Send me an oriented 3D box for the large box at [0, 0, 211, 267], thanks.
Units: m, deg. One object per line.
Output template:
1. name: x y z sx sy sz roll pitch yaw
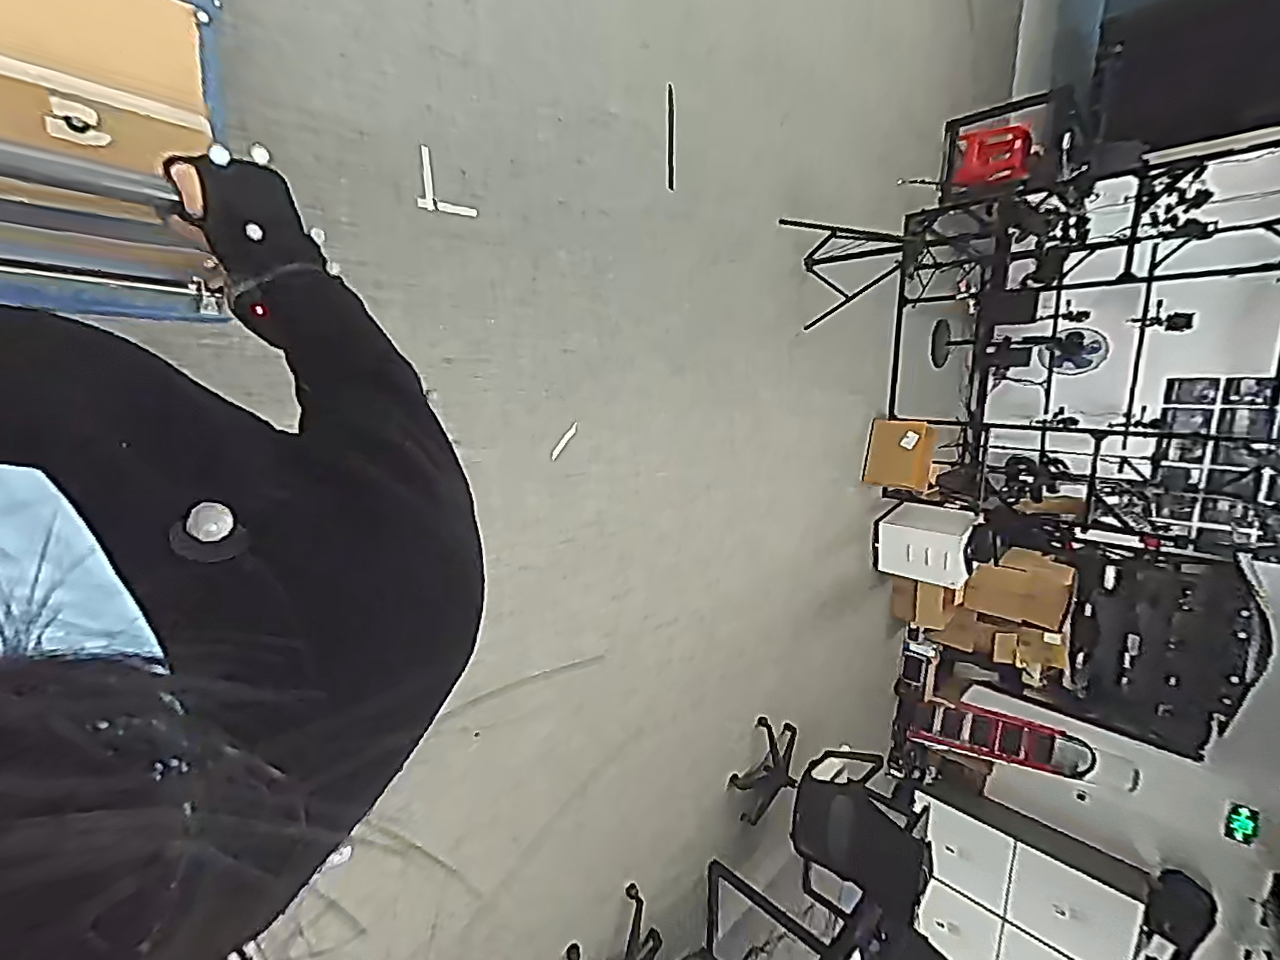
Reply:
1. large box: -0.880 -0.504 0.738 0.408 0.320 0.320 -7 104 -47
